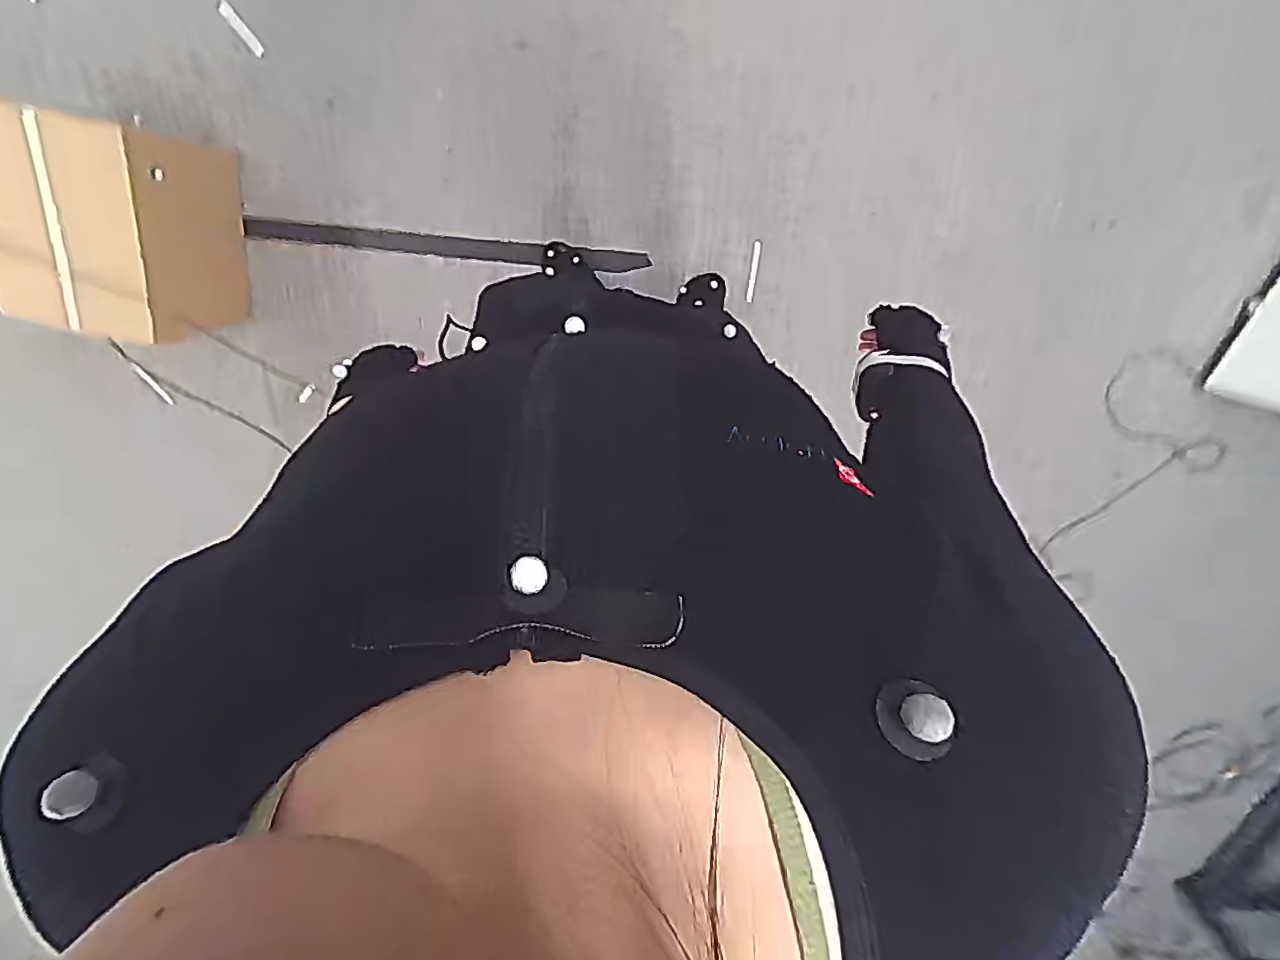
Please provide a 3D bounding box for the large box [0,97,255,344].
[{"bbox_3d":[-1.106,-0.551,1.176,0.320,0.320,0.408,11,114,-4],"label":"large box"}]
